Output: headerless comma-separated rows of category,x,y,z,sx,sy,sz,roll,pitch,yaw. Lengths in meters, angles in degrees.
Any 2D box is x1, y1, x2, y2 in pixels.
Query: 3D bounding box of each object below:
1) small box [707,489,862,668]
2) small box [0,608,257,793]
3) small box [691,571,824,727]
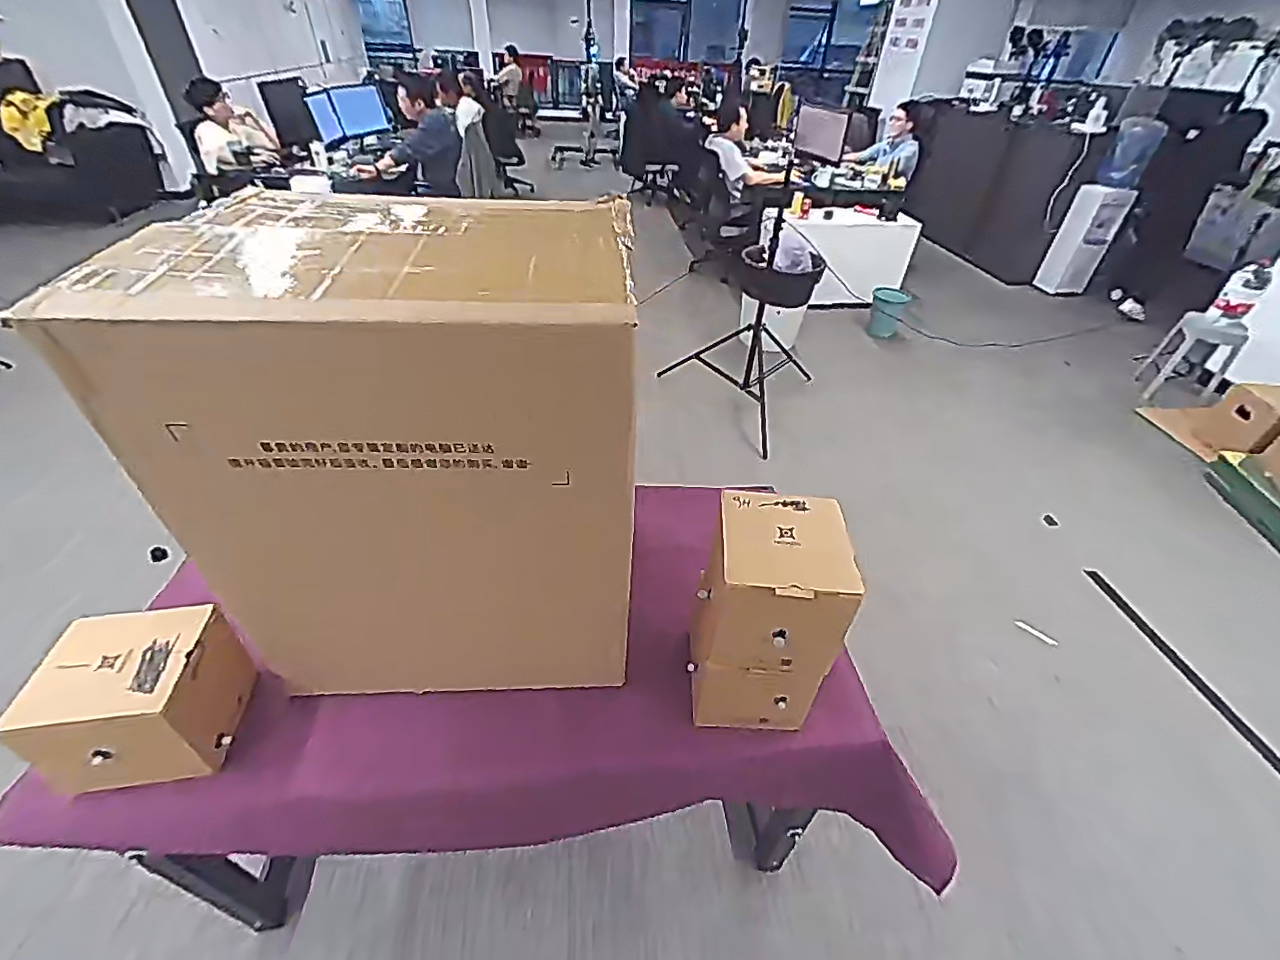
small box,0.186,0.137,0.748,0.168,0.176,0.179,6,40,2
small box,-0.672,0.301,0.744,0.179,0.176,0.168,-4,38,-11
small box,0.171,0.266,0.849,0.168,0.176,0.179,3,38,-1
